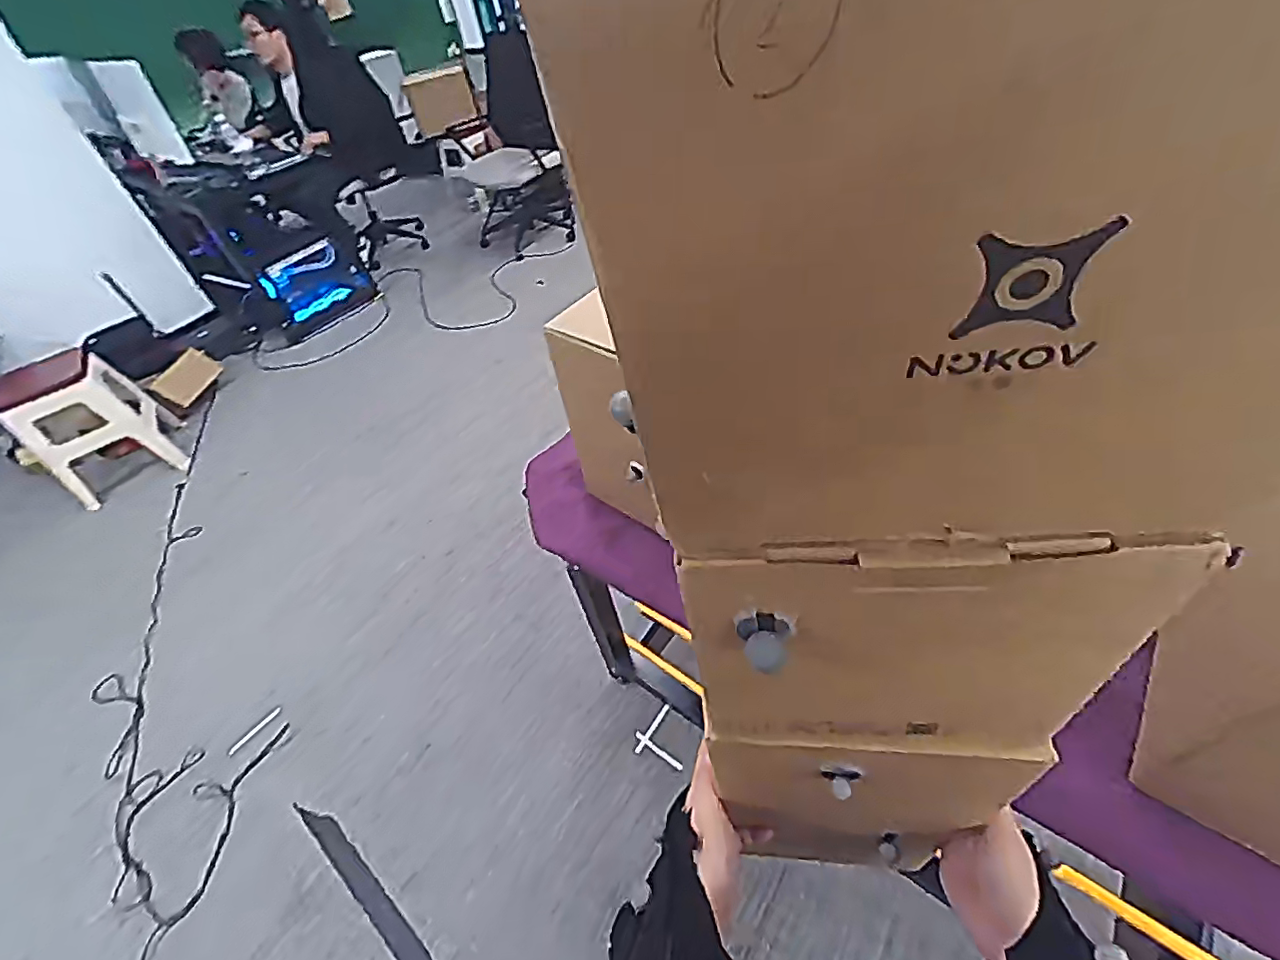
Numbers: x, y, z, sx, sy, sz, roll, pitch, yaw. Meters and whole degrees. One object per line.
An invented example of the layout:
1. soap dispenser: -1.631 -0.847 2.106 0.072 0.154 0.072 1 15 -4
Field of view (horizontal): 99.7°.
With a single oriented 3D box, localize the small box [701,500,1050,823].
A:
1. small box: 0.141 0.132 0.392 0.179 0.176 0.168 -2 46 11
